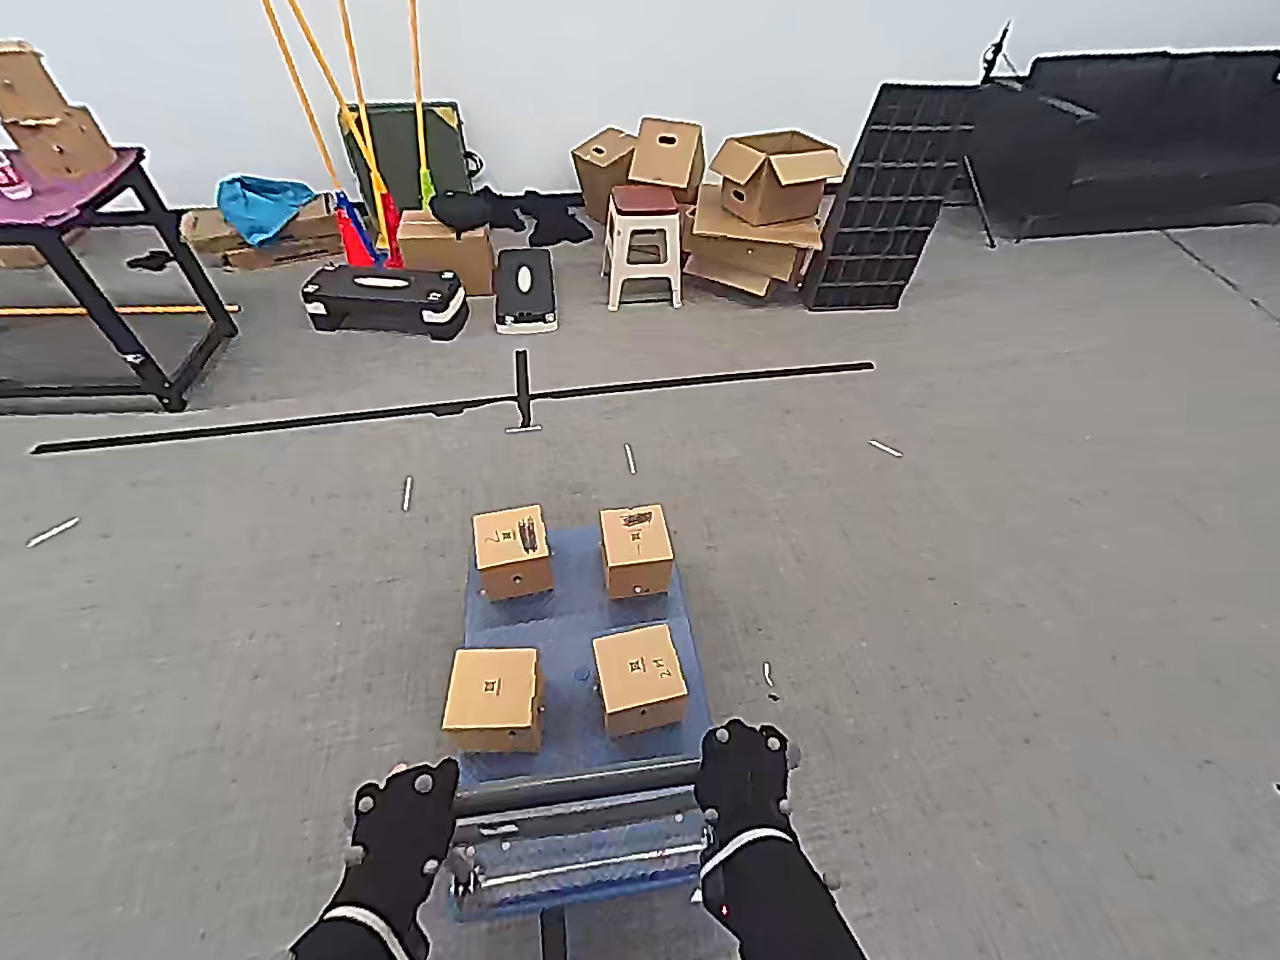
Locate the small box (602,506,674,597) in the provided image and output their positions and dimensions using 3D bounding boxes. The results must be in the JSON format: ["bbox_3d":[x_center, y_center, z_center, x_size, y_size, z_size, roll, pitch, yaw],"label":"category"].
[{"bbox_3d":[-0.012,0.192,1.455,0.168,0.176,0.179,-6,50,-8],"label":"small box"}]

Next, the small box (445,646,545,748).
[{"bbox_3d":[-0.309,0.479,1.190,0.179,0.176,0.168,1,48,-4],"label":"small box"}]

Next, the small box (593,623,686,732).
[{"bbox_3d":[-0.005,0.451,1.227,0.179,0.176,0.168,-9,50,-10],"label":"small box"}]
